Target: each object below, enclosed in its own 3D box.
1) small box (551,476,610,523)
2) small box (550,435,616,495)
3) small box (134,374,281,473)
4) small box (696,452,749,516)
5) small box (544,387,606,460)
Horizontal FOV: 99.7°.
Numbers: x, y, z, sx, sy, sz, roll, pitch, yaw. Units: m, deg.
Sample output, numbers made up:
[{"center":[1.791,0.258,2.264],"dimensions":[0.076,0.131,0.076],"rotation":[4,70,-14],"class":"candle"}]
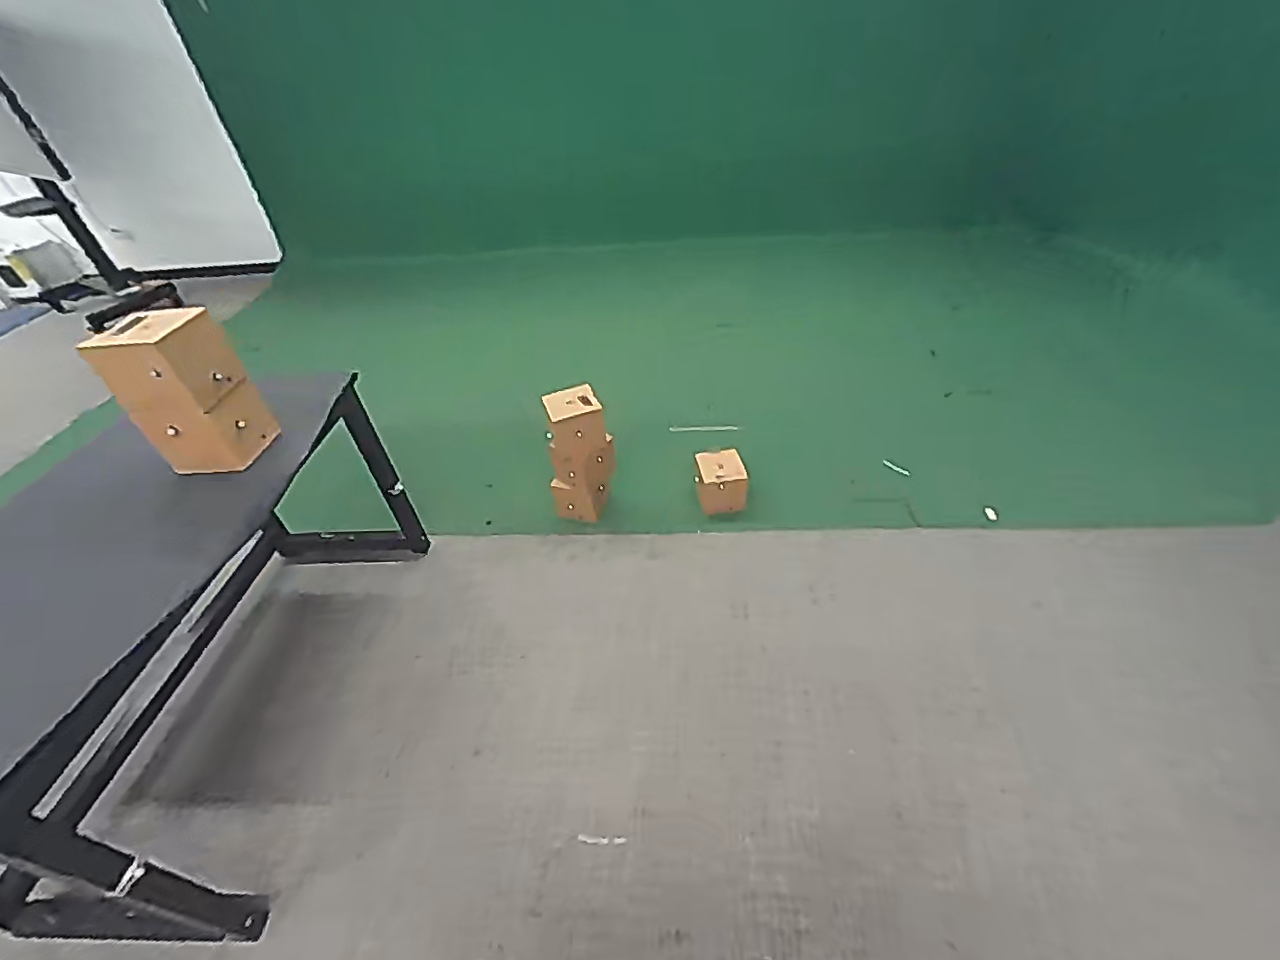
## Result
[{"center":[-0.222,0.045,2.104],"dimensions":[0.168,0.176,0.179],"rotation":[10,43,16],"class":"small box"},{"center":[-0.202,-0.073,1.991],"dimensions":[0.168,0.176,0.179],"rotation":[28,50,30],"class":"small box"},{"center":[-1.004,-0.131,1.277],"dimensions":[0.179,0.176,0.168],"rotation":[-2,41,5],"class":"small box"},{"center":[0.312,0.016,2.082],"dimensions":[0.168,0.176,0.179],"rotation":[-7,40,-3],"class":"small box"},{"center":[-0.222,-0.196,1.883],"dimensions":[0.179,0.176,0.168],"rotation":[-17,44,-12],"class":"small box"}]
